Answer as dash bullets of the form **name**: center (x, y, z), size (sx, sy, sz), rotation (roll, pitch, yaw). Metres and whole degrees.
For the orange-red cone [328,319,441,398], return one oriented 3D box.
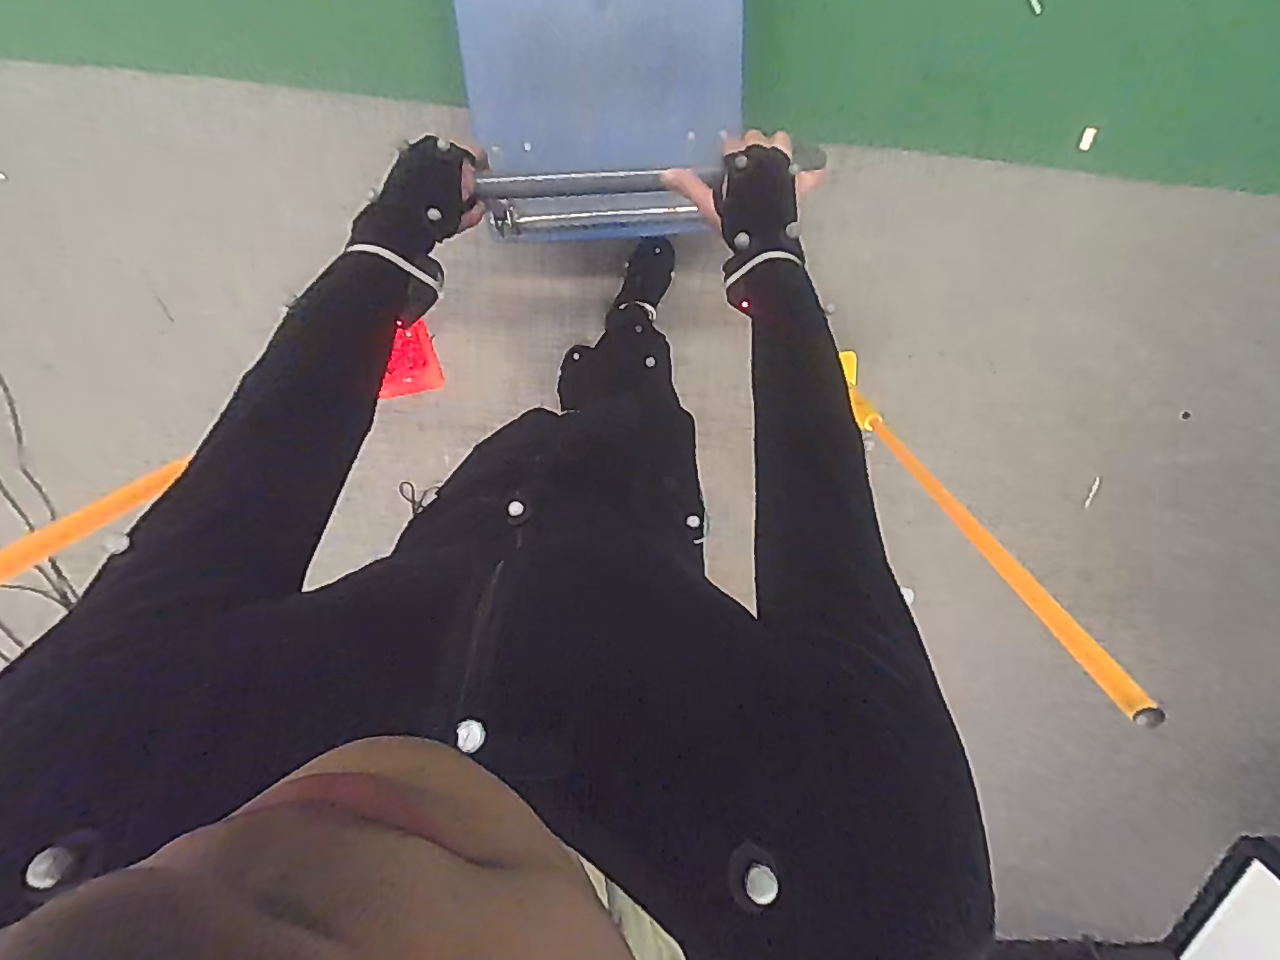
- **orange-red cone**: center (-0.650, -0.262, 1.306), size (0.199, 0.360, 0.198), rotation (-10, 112, 2)
